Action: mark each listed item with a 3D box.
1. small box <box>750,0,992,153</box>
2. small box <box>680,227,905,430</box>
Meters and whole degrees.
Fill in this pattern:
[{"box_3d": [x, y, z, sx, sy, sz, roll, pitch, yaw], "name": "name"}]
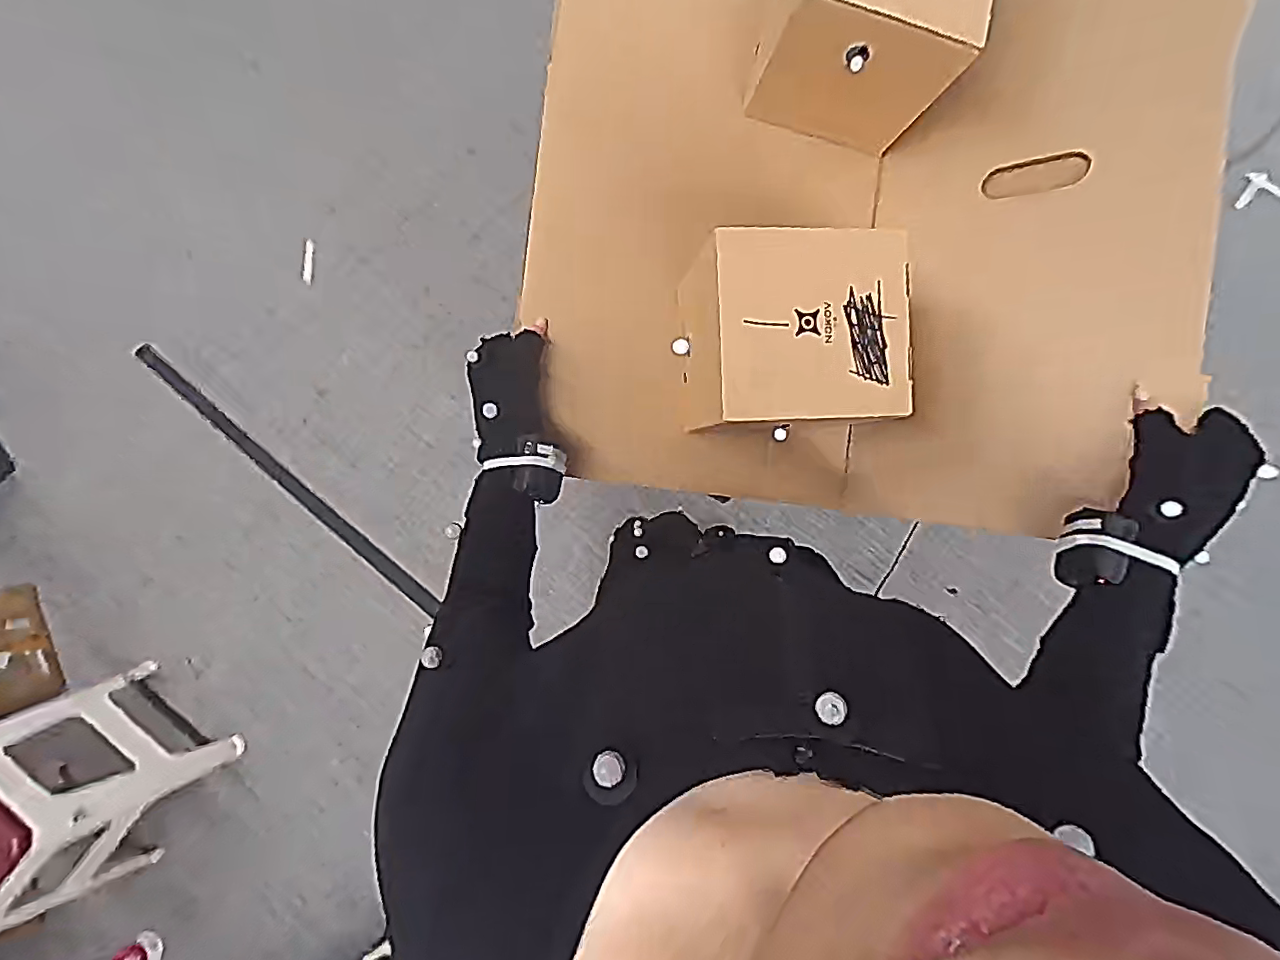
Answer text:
[{"box_3d": [0.232, -0.479, 0.559, 0.179, 0.176, 0.168, 13, 90, -8], "name": "small box"}, {"box_3d": [0.144, -0.141, 0.557, 0.179, 0.176, 0.168, -1, 92, -6], "name": "small box"}]
